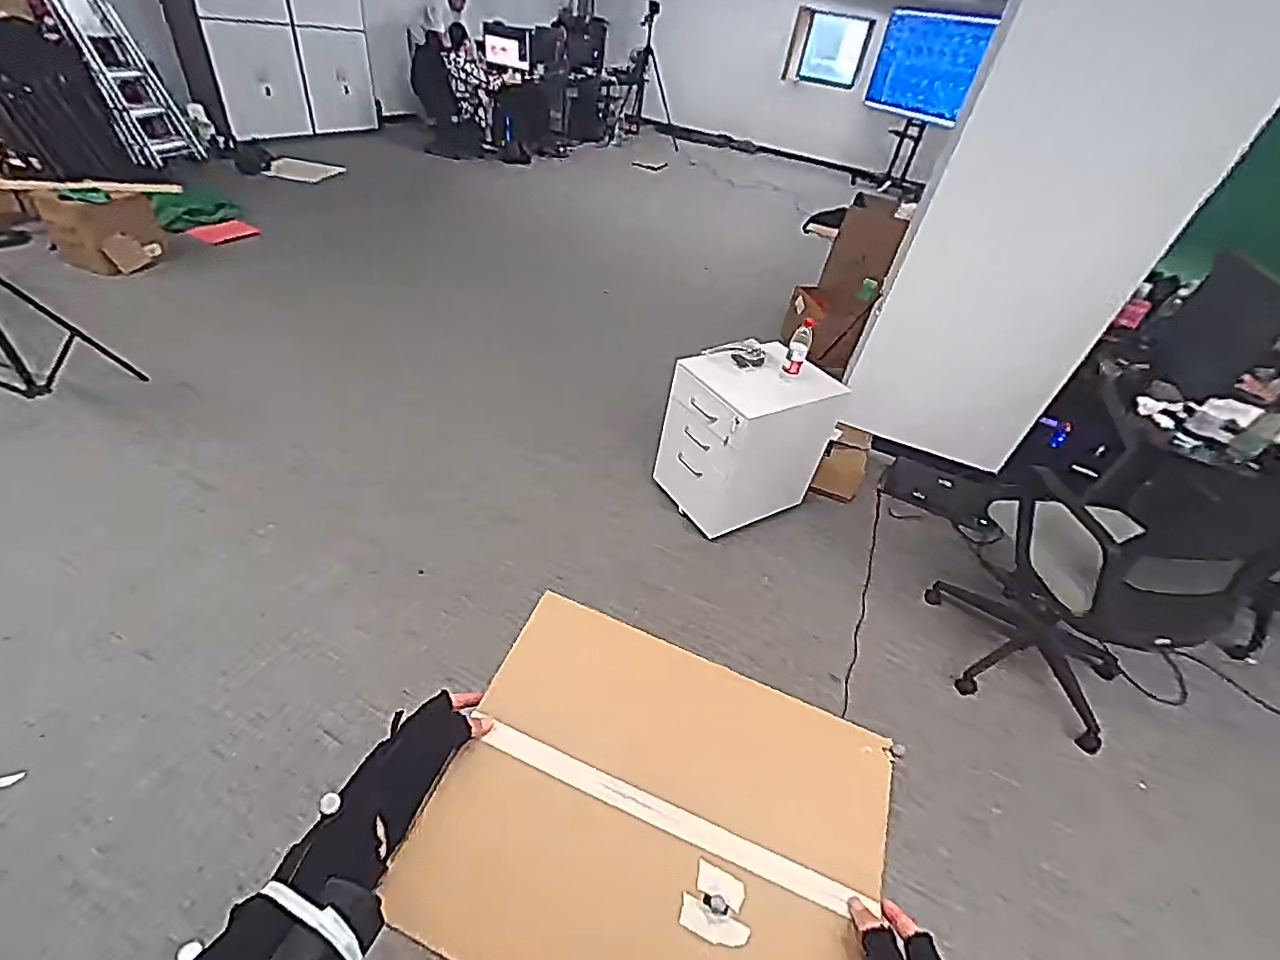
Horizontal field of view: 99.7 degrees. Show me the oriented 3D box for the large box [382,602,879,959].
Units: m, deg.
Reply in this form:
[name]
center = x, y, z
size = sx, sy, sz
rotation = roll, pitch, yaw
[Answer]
[large box]
center = 0.000, 0.408, 0.627
size = 0.408, 0.320, 0.320
rotation = 22, 52, 8
